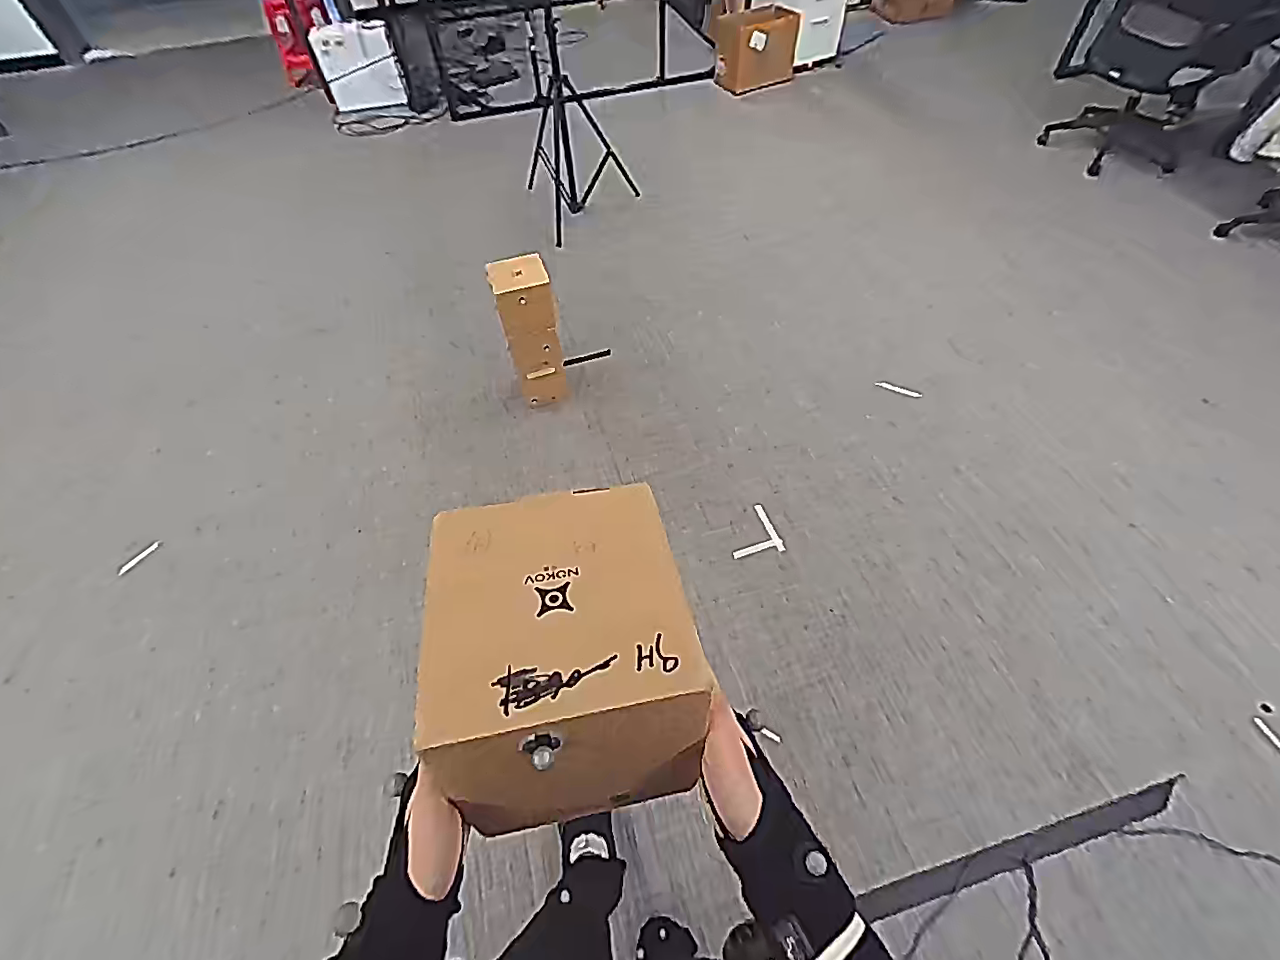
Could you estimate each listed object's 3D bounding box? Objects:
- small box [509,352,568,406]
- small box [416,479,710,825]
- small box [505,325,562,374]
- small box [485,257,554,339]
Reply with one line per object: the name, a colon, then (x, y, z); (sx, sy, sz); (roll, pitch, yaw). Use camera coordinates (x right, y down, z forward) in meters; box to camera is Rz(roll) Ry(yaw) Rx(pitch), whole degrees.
small box: (-0.373, -0.392, 2.001); (0.168, 0.176, 0.179); (-17, 55, -9)
small box: (-0.054, 0.126, 0.411); (0.168, 0.176, 0.179); (-9, 43, -7)
small box: (-0.378, -0.486, 1.870); (0.168, 0.176, 0.179); (-17, 55, -10)
small box: (-0.381, -0.582, 1.738); (0.179, 0.176, 0.168); (-18, 57, -10)
